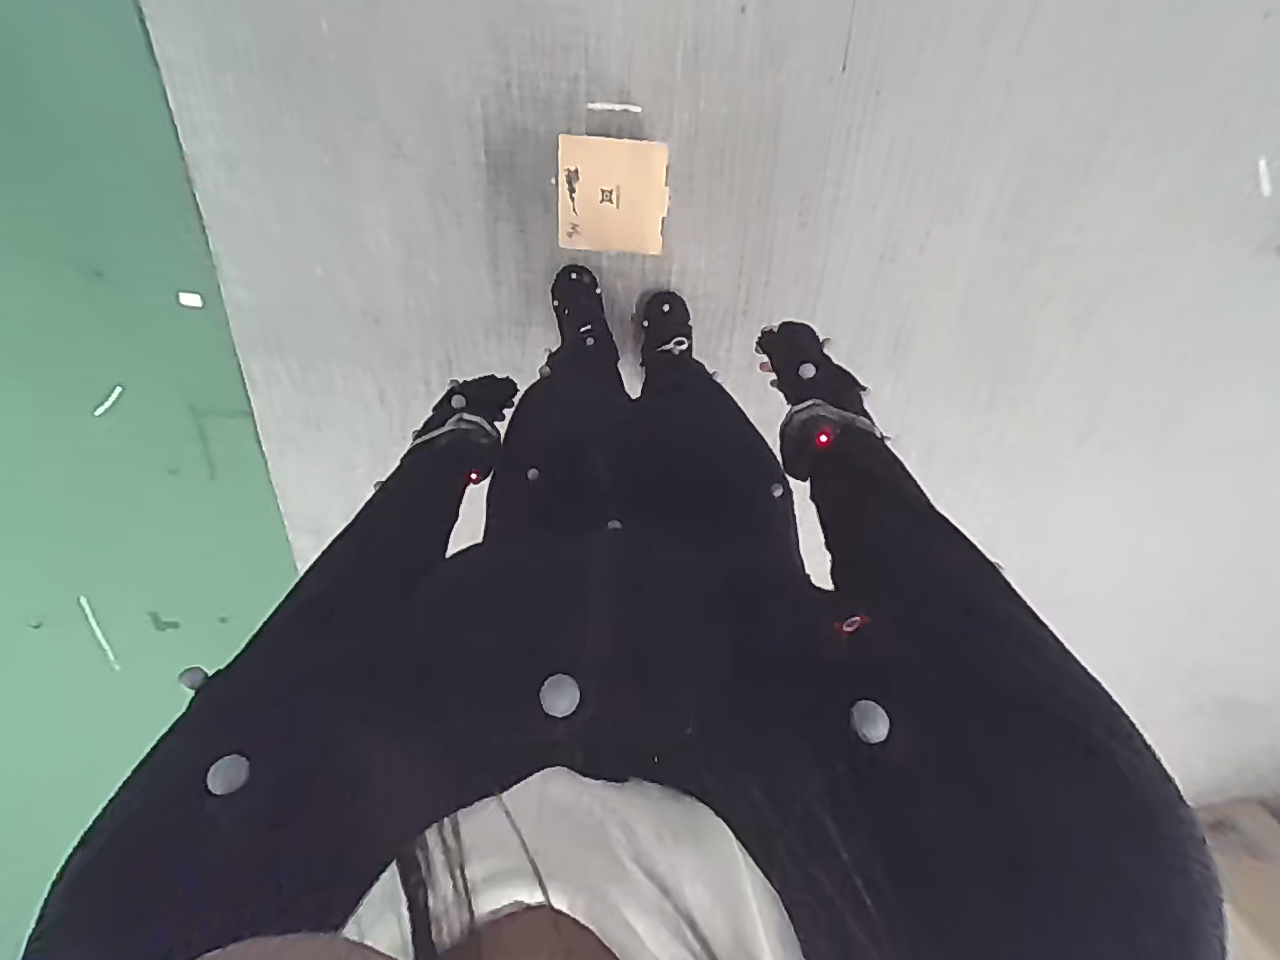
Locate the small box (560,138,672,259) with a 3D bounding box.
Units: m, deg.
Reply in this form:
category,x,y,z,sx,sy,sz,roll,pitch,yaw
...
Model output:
category,x,y,z,sx,sy,sz,roll,pitch,yaw
small box,-0.045,-0.493,0.955,0.179,0.176,0.168,3,117,-4
